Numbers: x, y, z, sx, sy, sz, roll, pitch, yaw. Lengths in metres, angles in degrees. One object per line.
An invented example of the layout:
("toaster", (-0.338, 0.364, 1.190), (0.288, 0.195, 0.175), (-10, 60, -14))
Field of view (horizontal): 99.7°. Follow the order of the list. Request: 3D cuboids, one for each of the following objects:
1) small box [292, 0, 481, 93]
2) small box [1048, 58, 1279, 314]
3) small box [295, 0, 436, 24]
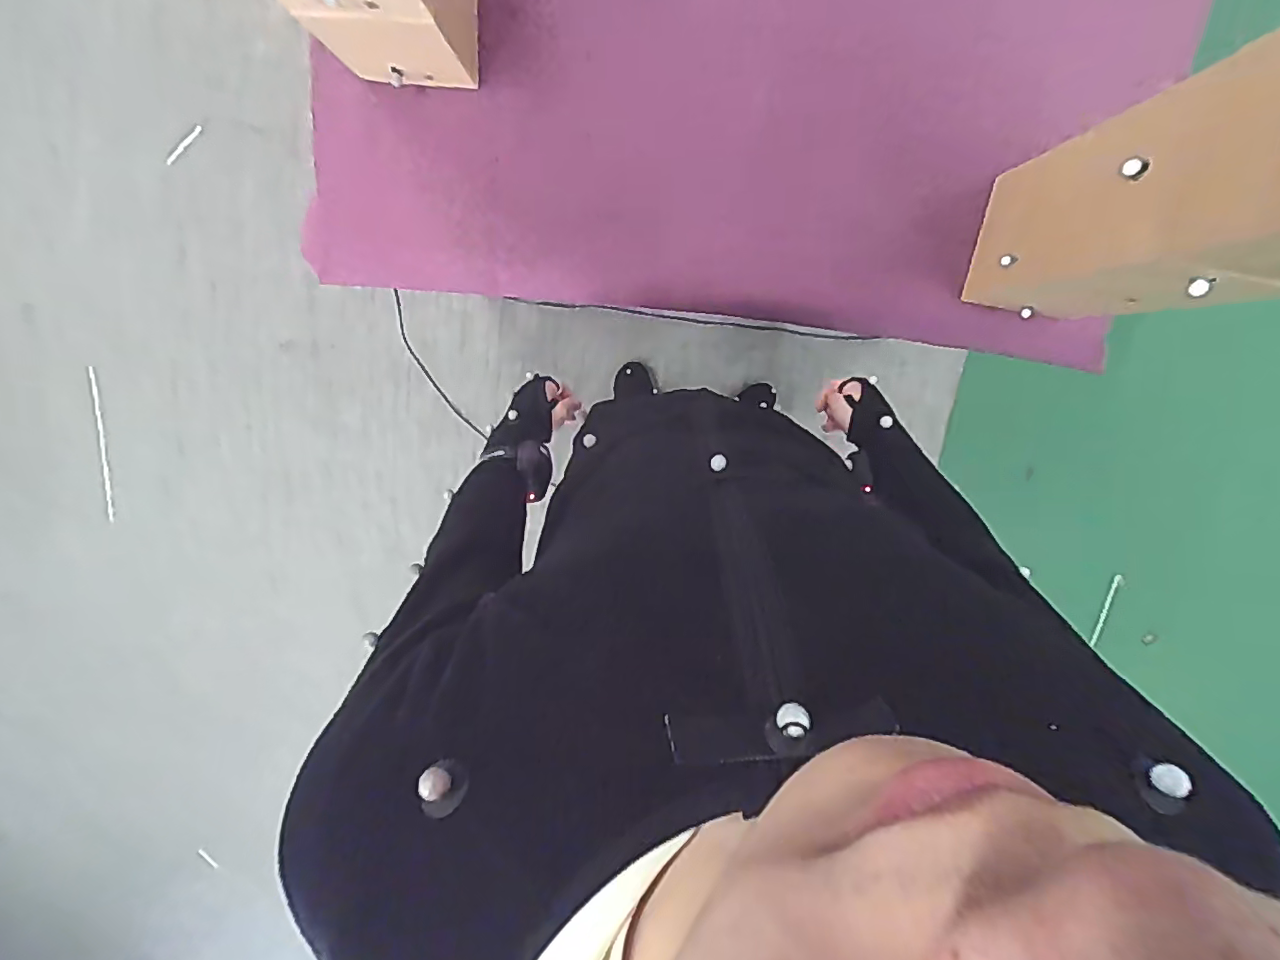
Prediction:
("small box", (-0.302, -0.621, 0.668), (0.168, 0.176, 0.179), (4, 104, 0))
("small box", (0.578, -0.283, 0.563), (0.168, 0.176, 0.179), (11, 102, 0))
("small box", (-0.303, -0.584, 0.509), (0.168, 0.176, 0.179), (4, 104, 1))
